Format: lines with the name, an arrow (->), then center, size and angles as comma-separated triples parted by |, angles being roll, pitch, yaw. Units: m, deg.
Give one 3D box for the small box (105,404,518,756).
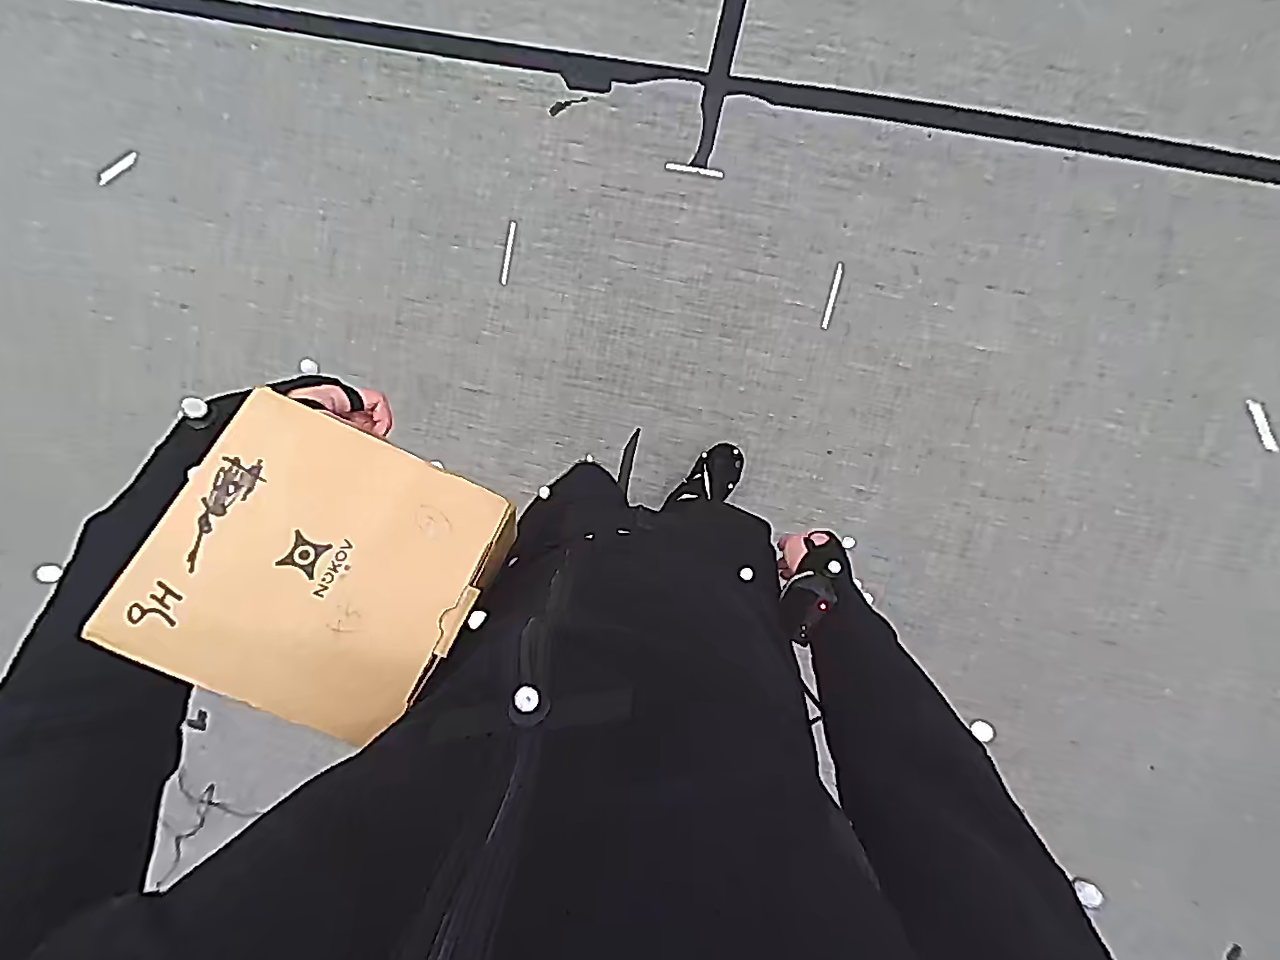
small box -> -0.207, 0.073, 0.407 | 0.179, 0.176, 0.168 | 25, 73, -7
